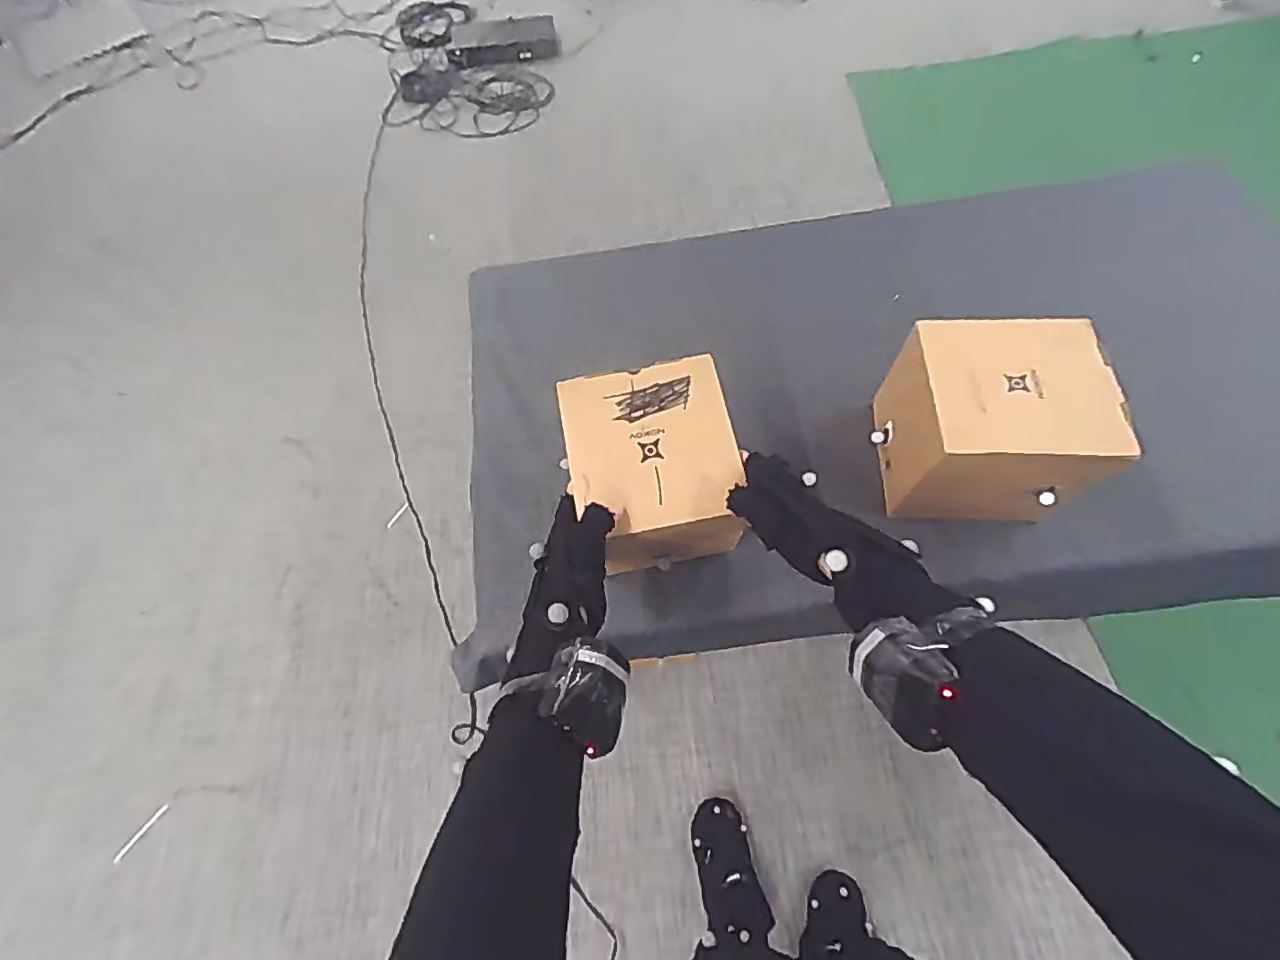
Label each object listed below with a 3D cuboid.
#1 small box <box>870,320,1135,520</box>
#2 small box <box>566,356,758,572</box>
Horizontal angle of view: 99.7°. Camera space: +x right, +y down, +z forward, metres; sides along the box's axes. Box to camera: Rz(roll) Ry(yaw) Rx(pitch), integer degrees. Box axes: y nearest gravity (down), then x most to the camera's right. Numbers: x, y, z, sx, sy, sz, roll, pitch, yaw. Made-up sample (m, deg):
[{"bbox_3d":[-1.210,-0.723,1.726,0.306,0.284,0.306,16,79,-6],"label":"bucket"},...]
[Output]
[{"bbox_3d":[0.385,-0.060,0.615,0.179,0.176,0.168,0,64,5],"label":"small box"},{"bbox_3d":[0.019,-0.009,0.607,0.168,0.176,0.179,-11,69,-1],"label":"small box"}]
